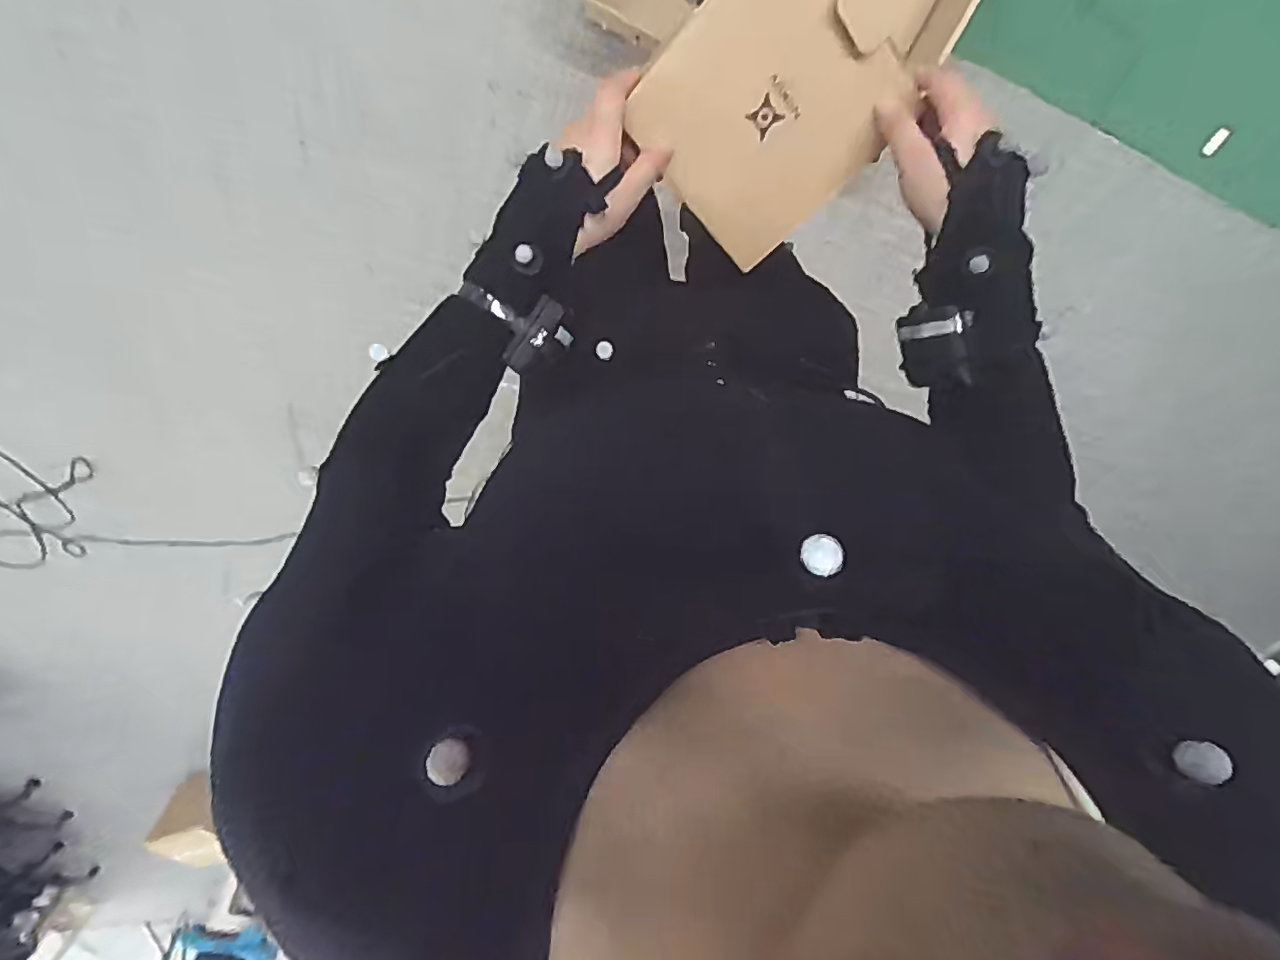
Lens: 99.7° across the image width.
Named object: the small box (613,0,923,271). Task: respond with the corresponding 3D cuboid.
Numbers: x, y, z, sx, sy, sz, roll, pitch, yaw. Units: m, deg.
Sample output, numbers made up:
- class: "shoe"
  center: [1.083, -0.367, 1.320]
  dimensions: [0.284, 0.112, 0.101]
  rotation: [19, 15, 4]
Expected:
- class: "small box"
  center: [0.097, -0.324, 0.471]
  dimensions: [0.168, 0.176, 0.179]
  rotation: [38, 119, -25]
